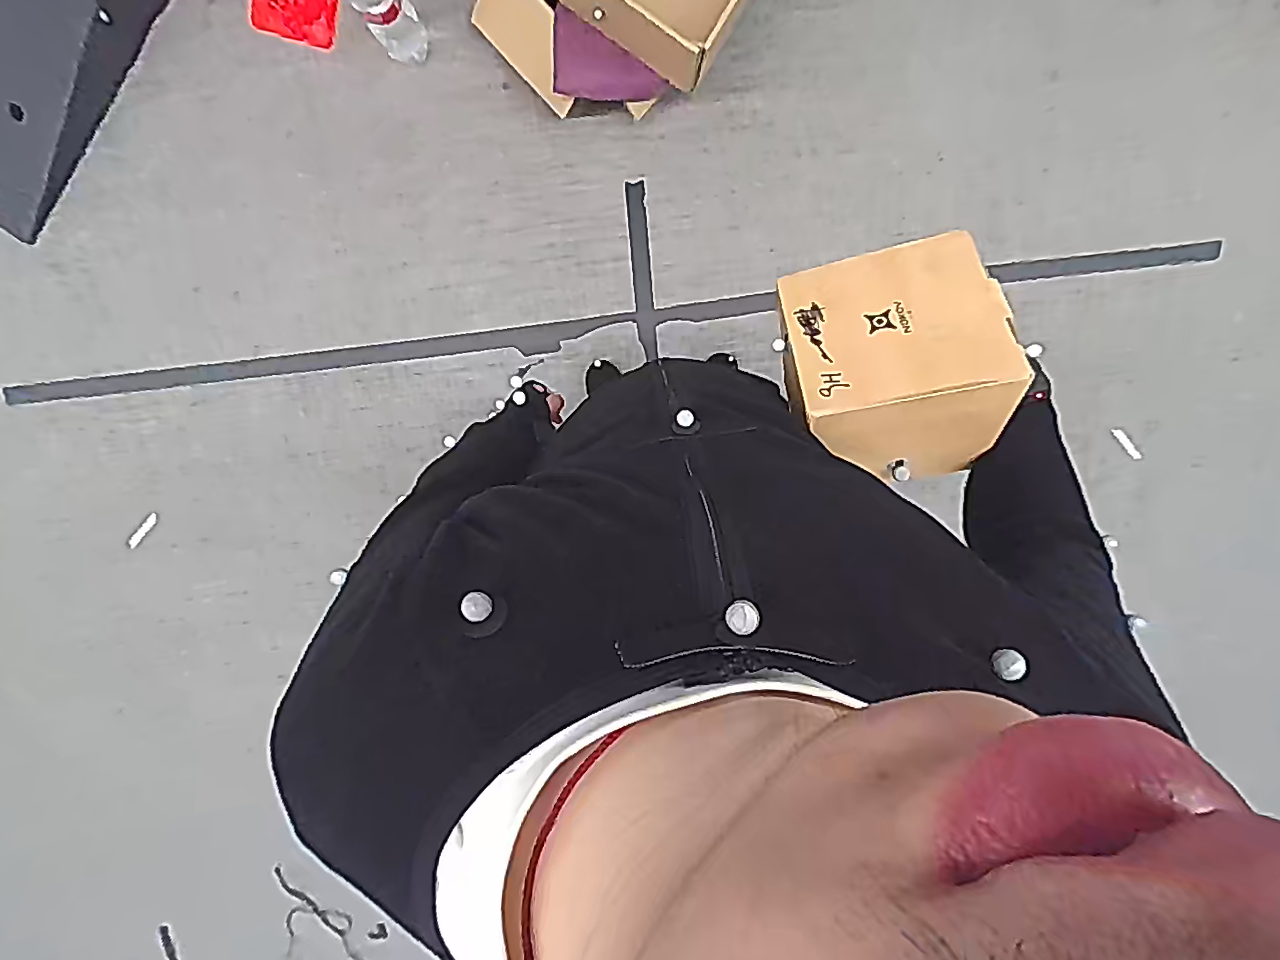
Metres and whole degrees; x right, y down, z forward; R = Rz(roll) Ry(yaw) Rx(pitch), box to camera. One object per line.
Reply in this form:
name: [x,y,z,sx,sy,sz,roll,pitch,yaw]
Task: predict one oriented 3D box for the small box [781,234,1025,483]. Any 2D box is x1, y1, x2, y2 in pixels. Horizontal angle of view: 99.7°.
small box: [0.248,-0.112,0.561,0.179,0.176,0.168,-10,62,13]
